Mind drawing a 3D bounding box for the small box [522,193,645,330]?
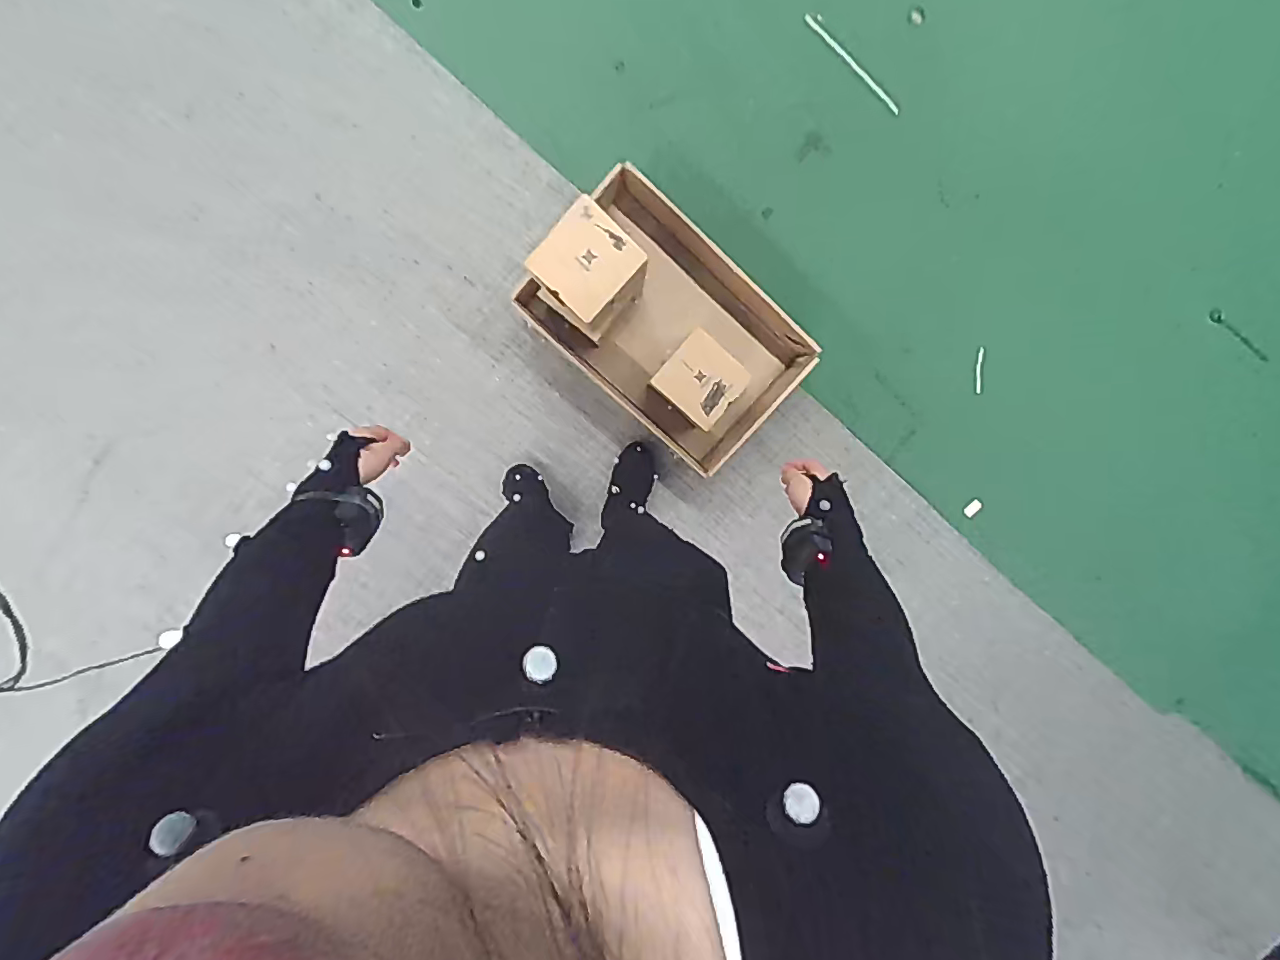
[{"bbox_3d":[-0.104,-0.421,1.078,0.168,0.176,0.179,43,97,-8],"label":"small box"}]

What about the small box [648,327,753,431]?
[{"bbox_3d":[0.136,-0.240,1.284,0.179,0.176,0.168,41,97,-7],"label":"small box"}]
